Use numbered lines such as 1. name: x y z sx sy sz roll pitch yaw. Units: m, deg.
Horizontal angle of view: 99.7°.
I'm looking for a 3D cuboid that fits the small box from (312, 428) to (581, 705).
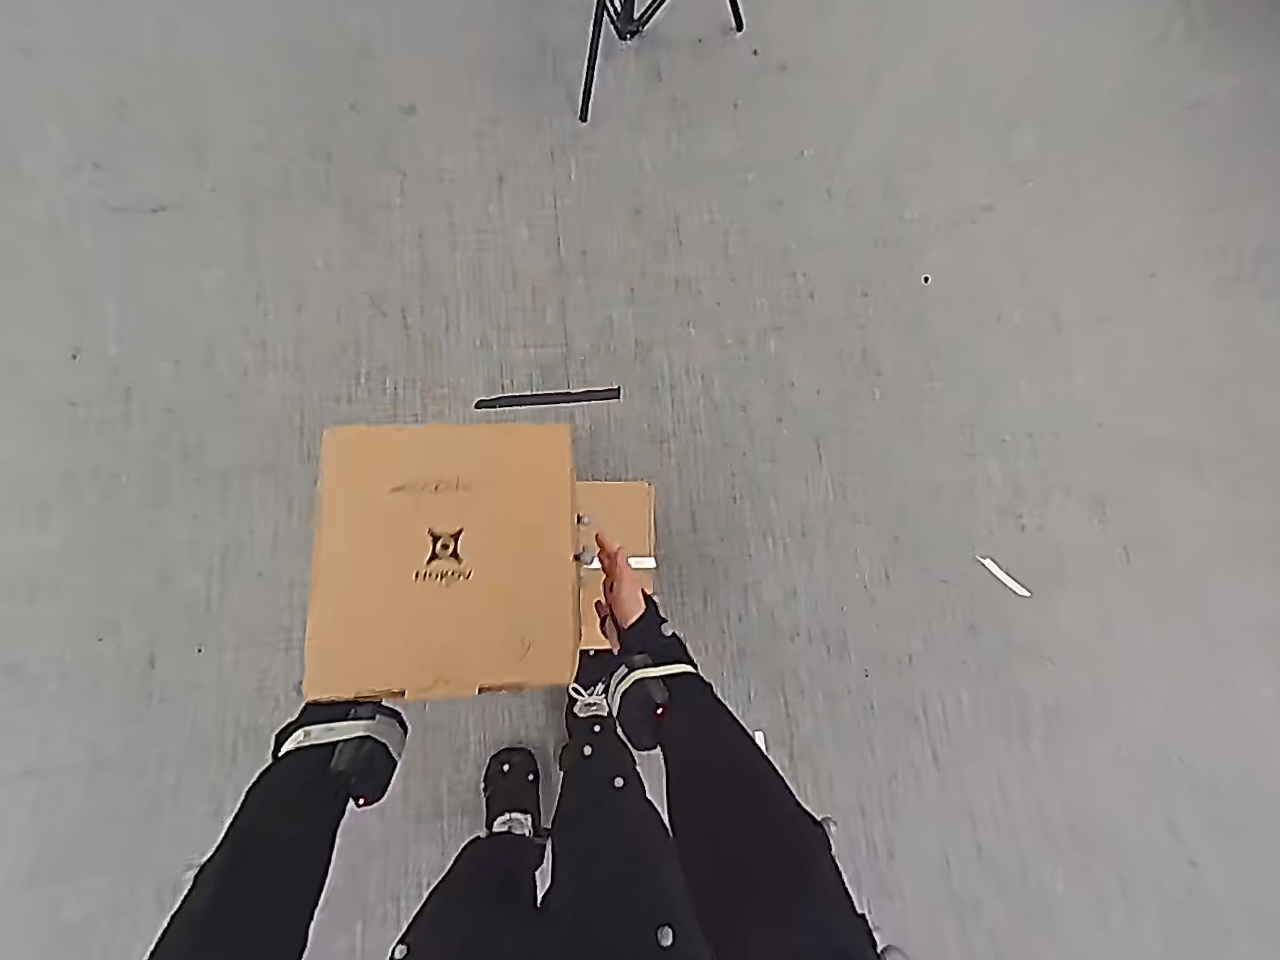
1. small box: -0.132 0.066 0.431 0.168 0.176 0.179 -2 78 -7
